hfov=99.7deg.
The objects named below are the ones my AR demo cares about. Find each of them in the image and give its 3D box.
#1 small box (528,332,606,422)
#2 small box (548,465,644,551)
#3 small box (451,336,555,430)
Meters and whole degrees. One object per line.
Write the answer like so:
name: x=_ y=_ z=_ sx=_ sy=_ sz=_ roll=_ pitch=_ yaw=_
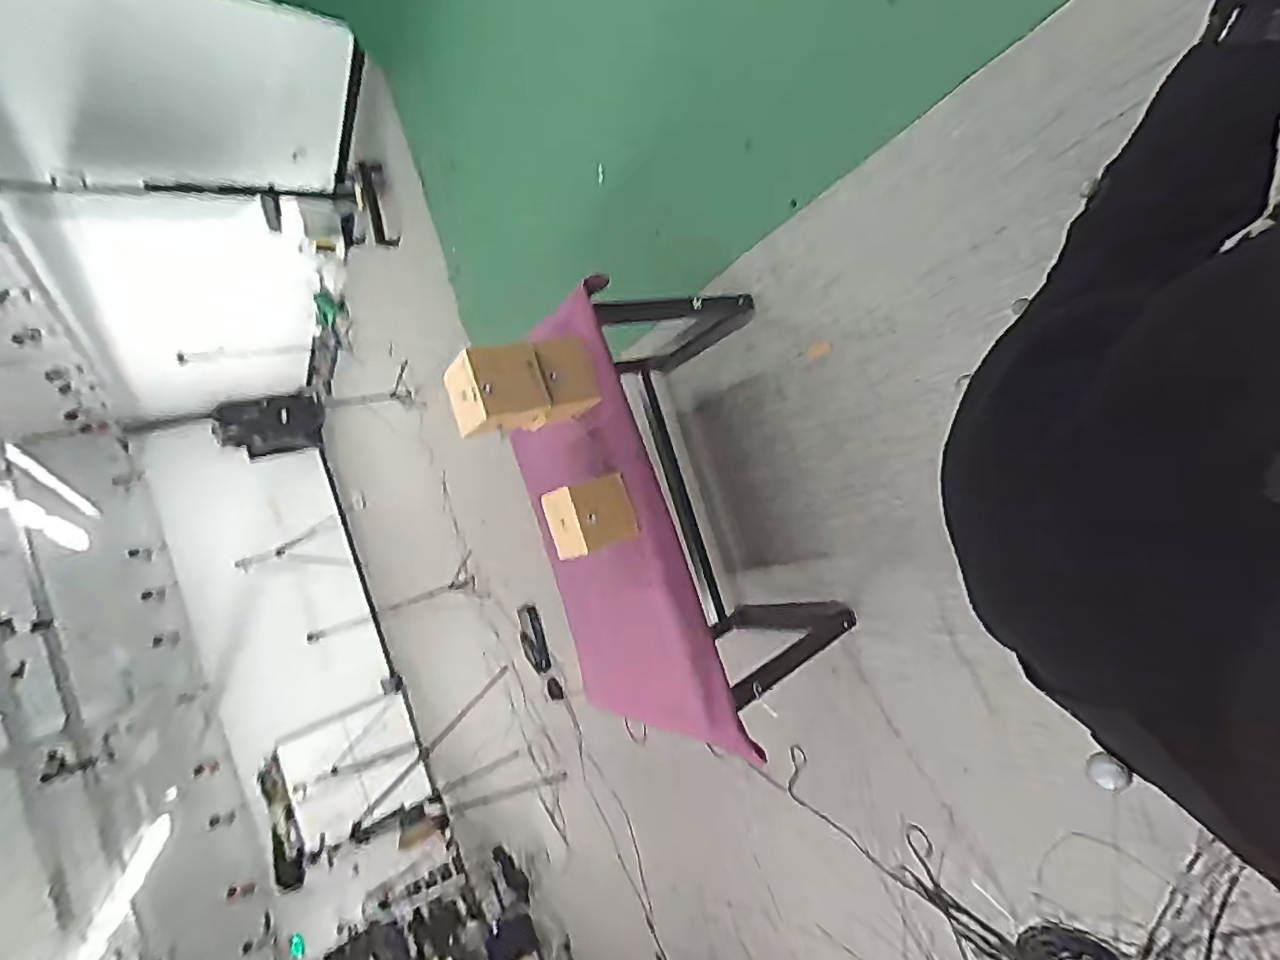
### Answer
small box: x=-0.213 y=-0.271 z=1.409 sx=0.168 sy=0.176 sz=0.179 roll=-23 pitch=86 yaw=53
small box: x=-0.113 y=0.074 z=1.424 sx=0.168 sy=0.176 sz=0.179 roll=-19 pitch=89 yaw=55
small box: x=-0.328 y=-0.232 z=1.298 sx=0.179 sy=0.176 sz=0.168 roll=-19 pitch=90 yaw=54
